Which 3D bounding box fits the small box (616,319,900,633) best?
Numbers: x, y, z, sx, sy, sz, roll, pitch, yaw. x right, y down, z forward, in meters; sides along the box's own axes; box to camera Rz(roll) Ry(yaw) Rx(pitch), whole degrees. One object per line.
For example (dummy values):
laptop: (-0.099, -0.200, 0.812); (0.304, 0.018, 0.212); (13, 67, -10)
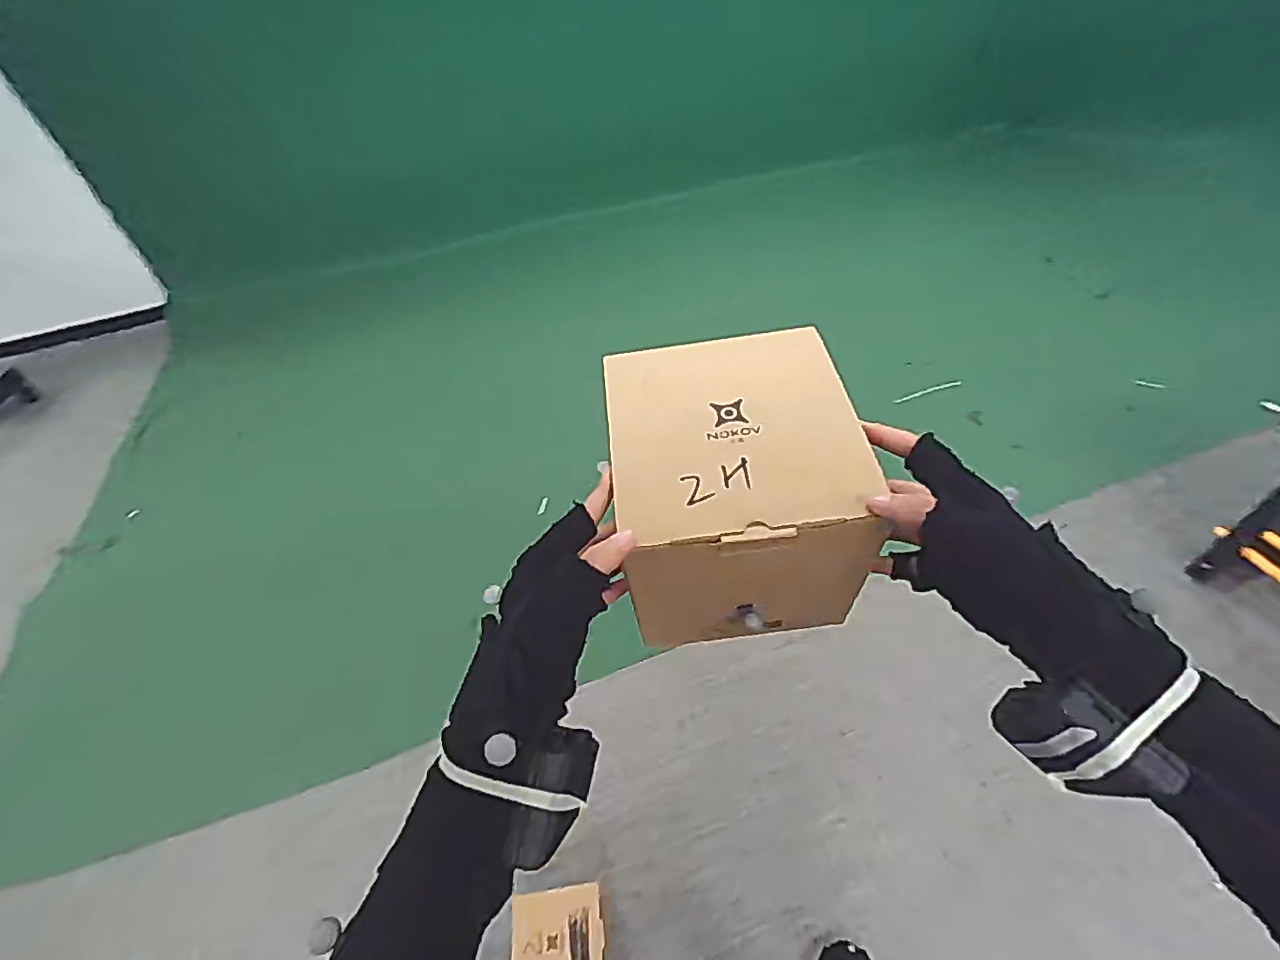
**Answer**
small box: (0.074, 0.001, 0.430); (0.168, 0.176, 0.179); (-7, 52, 3)
